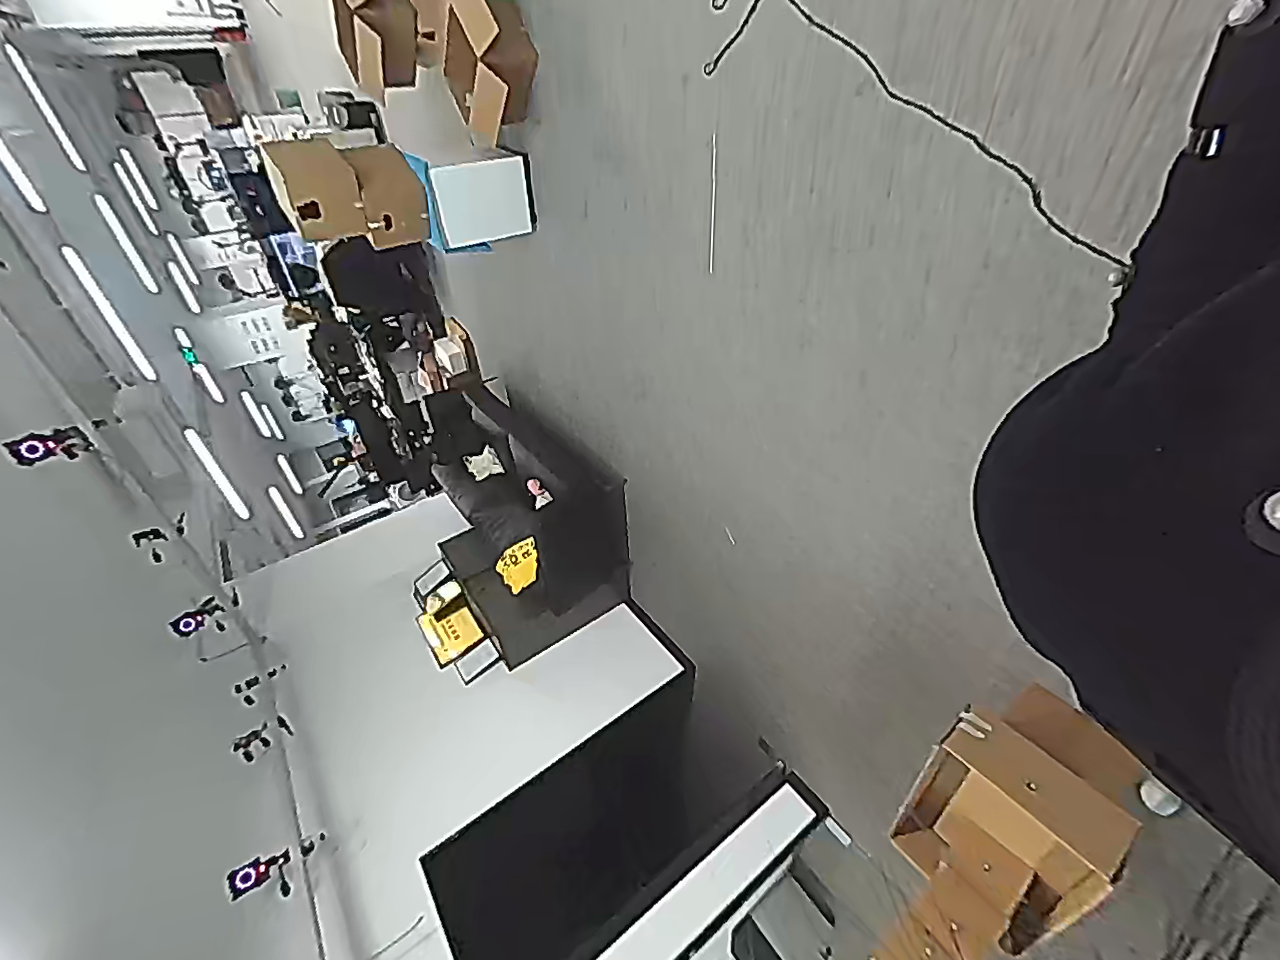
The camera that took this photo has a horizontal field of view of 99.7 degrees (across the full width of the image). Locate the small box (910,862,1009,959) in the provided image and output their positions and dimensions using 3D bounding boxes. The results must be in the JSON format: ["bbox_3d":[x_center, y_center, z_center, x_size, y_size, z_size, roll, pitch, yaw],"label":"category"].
[{"bbox_3d":[0.853,1.186,1.466,0.179,0.176,0.168,32,139,45],"label":"small box"}]

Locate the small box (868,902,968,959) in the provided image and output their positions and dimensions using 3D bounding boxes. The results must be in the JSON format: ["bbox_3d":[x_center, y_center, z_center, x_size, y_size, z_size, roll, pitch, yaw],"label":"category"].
[{"bbox_3d":[0.718,1.257,1.402,0.168,0.176,0.179,34,140,43],"label":"small box"}]
